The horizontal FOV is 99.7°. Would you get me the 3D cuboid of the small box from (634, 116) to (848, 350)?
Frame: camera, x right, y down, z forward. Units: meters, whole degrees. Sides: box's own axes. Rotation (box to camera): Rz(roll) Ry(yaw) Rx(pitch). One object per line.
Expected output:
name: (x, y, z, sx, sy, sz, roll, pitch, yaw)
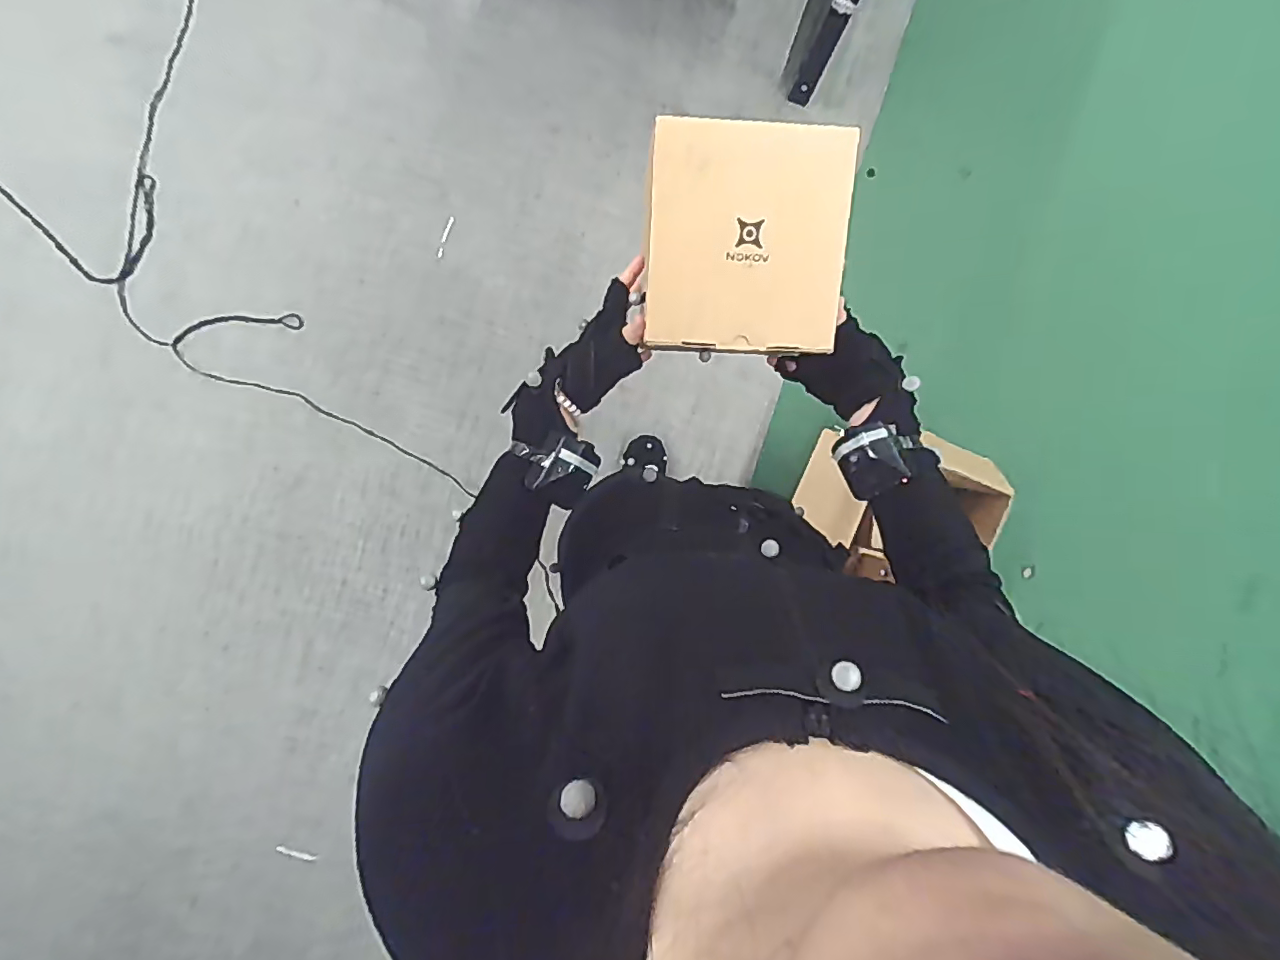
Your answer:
small box: (0.081, -0.222, 0.532, 0.168, 0.176, 0.179, 2, 104, -3)
